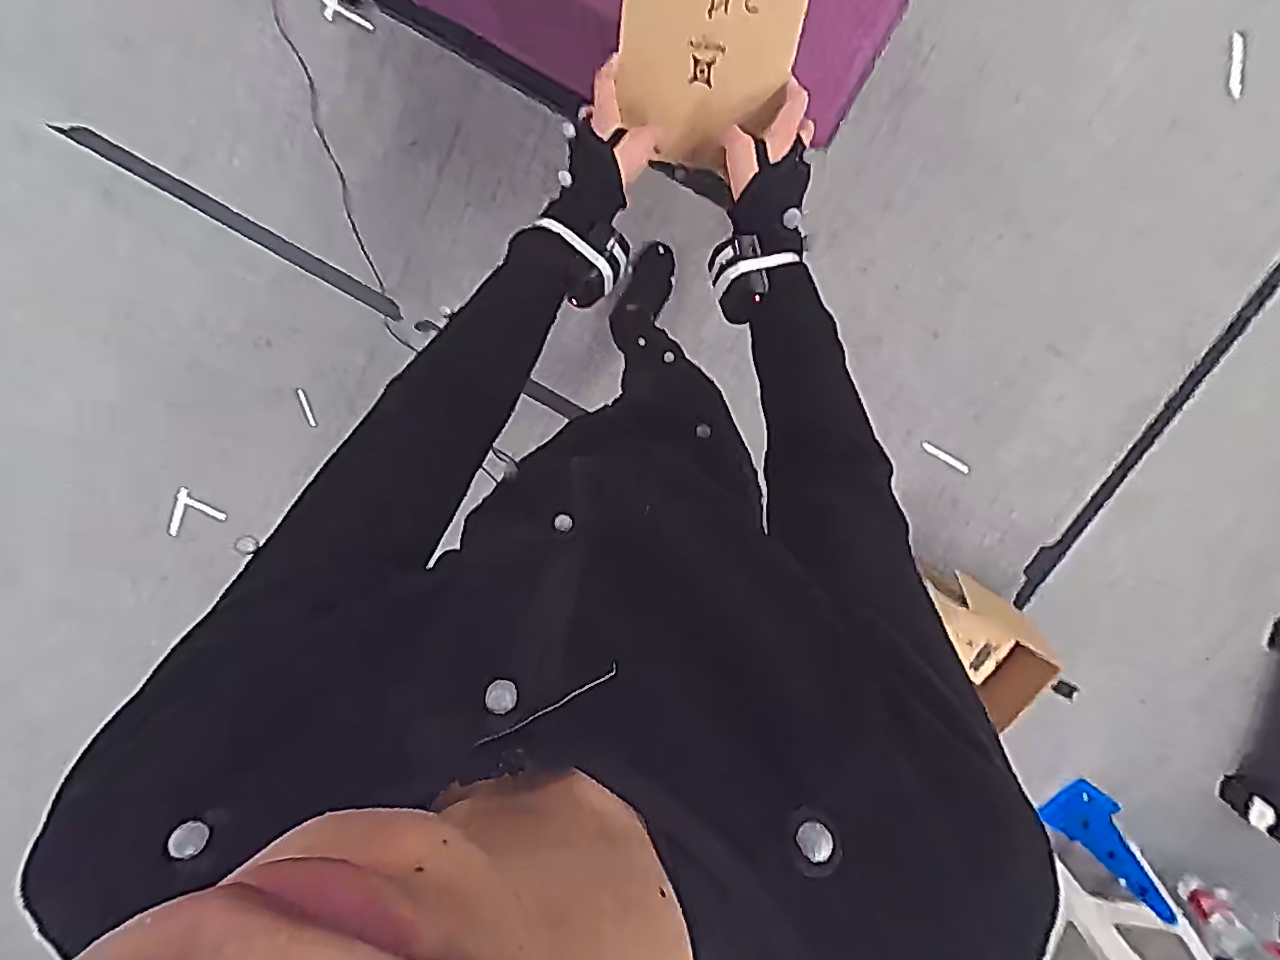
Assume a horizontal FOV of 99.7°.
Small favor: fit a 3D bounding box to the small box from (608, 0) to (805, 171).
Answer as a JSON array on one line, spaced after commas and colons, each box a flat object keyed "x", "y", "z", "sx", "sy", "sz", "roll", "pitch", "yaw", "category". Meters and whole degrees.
[{"x": 0.066, "y": -0.441, "z": 0.574, "sx": 0.168, "sy": 0.176, "sz": 0.179, "roll": 9, "pitch": 121, "yaw": -1, "category": "small box"}]
